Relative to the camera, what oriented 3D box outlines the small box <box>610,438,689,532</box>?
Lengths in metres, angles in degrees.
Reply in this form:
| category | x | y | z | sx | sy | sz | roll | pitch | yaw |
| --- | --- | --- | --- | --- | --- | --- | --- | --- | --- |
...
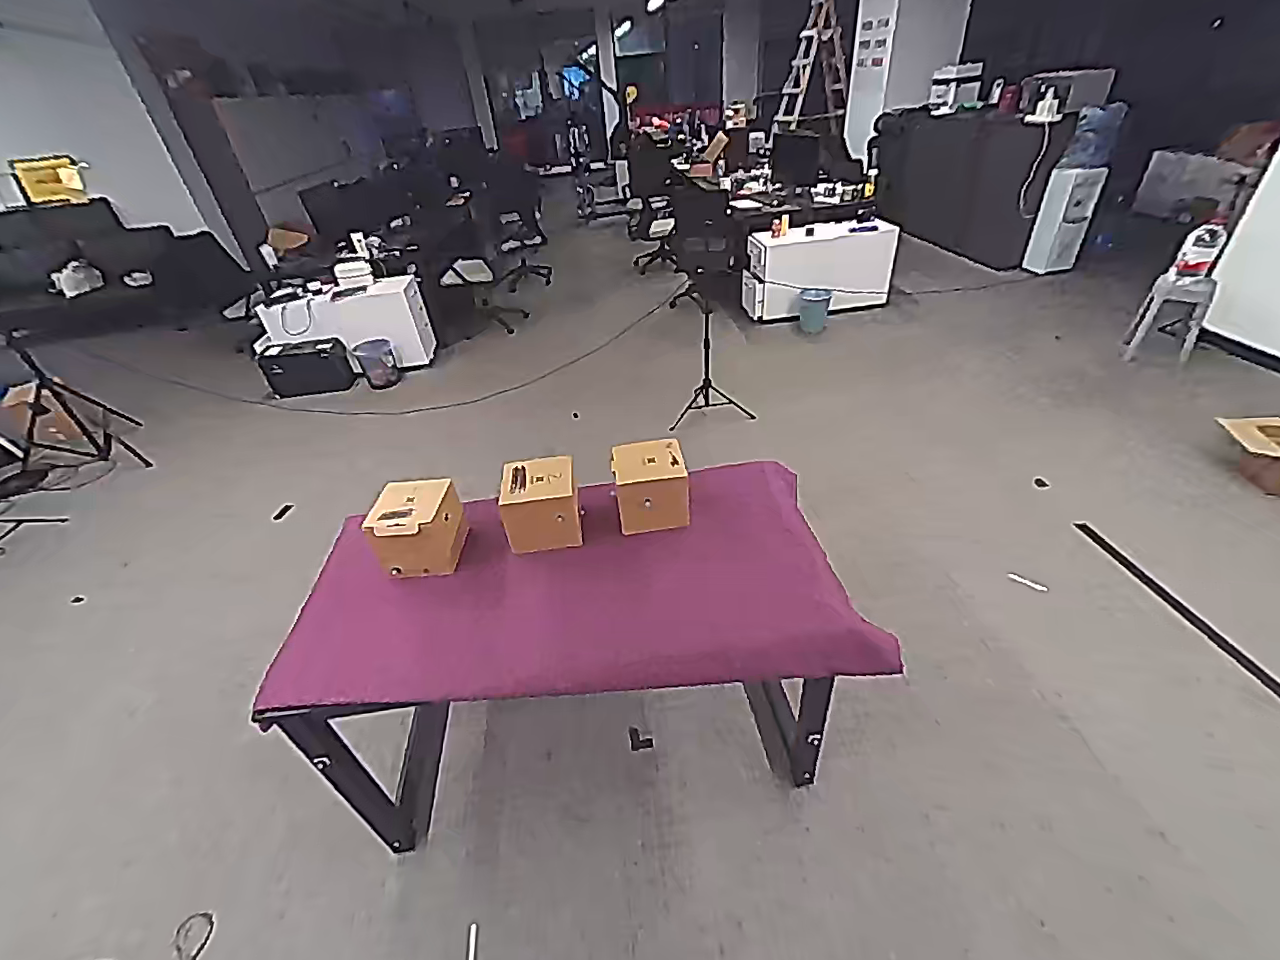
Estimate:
| category | x | y | z | sx | sy | sz | roll | pitch | yaw |
| --- | --- | --- | --- | --- | --- | --- | --- | --- | --- |
| small box | 0.024 | 0.016 | 1.384 | 0.179 | 0.176 | 0.168 | -9 | 39 | -1 |

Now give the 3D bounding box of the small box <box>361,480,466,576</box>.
| category | x | y | z | sx | sy | sz | roll | pitch | yaw |
| --- | --- | --- | --- | --- | --- | --- | --- | --- | --- |
| small box | -0.543 | 0.122 | 1.328 | 0.168 | 0.176 | 0.179 | -4 | 37 | 2 |
